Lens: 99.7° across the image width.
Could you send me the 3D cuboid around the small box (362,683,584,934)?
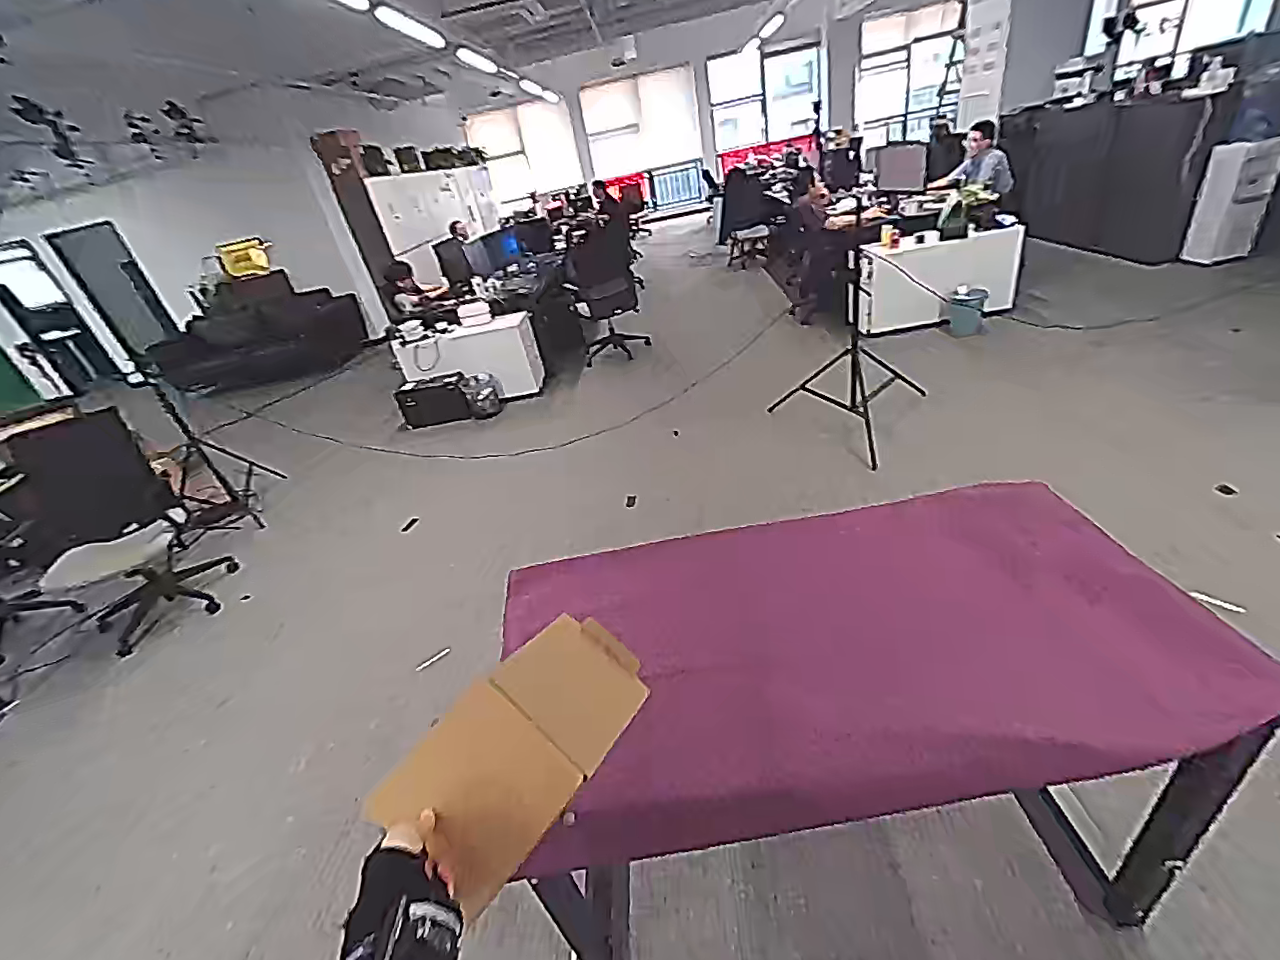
[{"bbox_3d":[-0.185,0.375,0.651,0.168,0.176,0.179,39,67,13],"label":"small box"}]
